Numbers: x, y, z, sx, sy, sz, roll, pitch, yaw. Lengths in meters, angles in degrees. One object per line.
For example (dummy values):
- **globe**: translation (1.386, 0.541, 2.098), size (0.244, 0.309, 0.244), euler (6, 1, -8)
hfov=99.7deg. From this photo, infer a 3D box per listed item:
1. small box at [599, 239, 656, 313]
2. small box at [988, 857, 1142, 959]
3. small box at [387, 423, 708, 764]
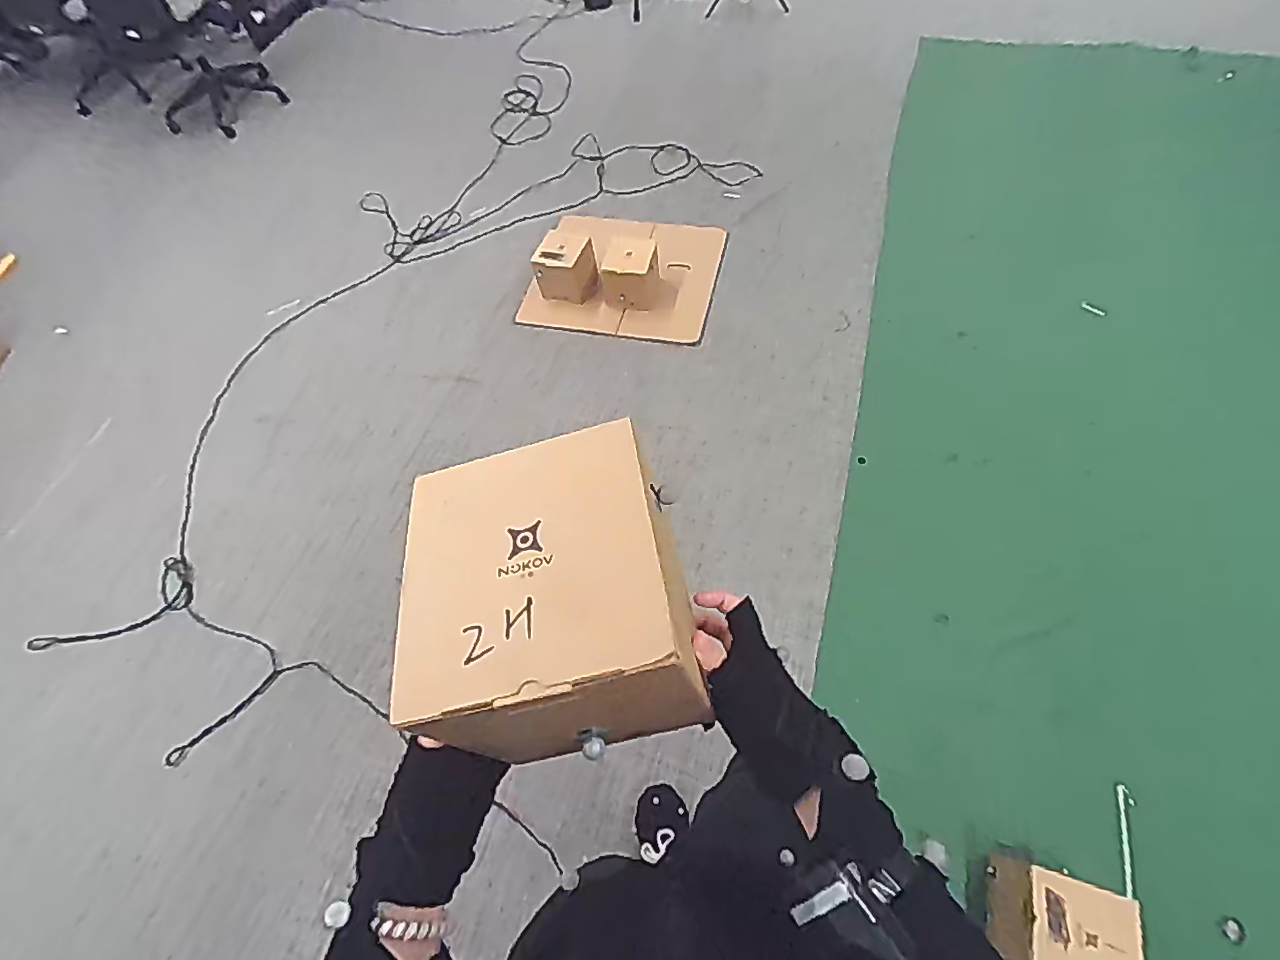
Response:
- **small box**: translation (-0.038, -0.734, 1.945), size (0.168, 0.176, 0.179), euler (9, 64, 10)
- **small box**: translation (0.782, 0.833, 1.011), size (0.179, 0.176, 0.168), euler (14, 64, 12)
- **small box**: translation (-0.055, 0.091, 0.403), size (0.168, 0.176, 0.179), euler (-16, 54, 6)
